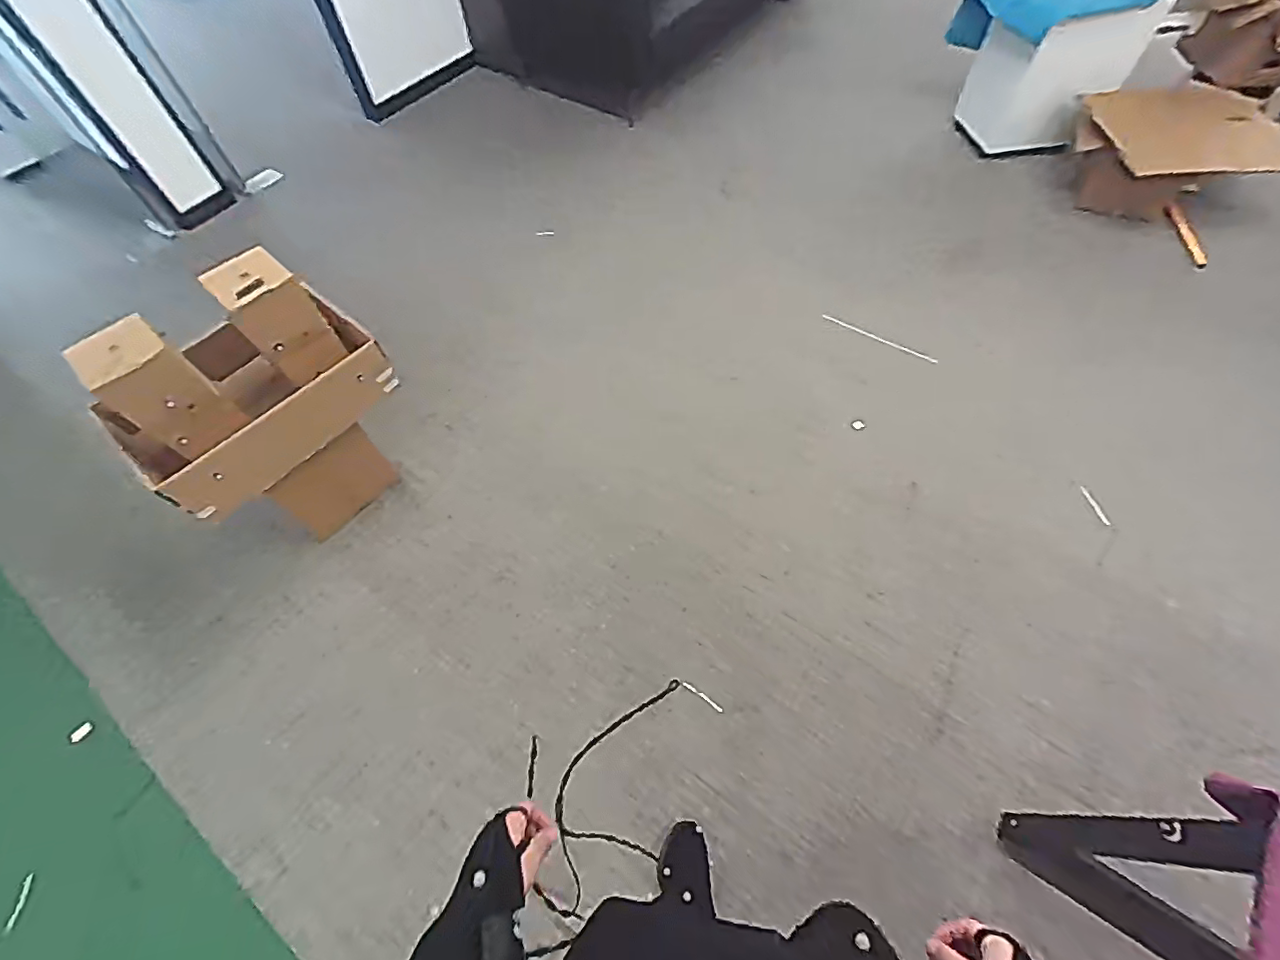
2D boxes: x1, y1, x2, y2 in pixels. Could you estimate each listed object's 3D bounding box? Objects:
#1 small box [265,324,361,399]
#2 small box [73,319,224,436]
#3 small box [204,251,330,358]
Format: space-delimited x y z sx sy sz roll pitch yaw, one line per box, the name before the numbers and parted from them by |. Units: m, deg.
small box | -0.933 -0.358 1.517 0.179 0.176 0.168 36 67 20
small box | -1.135 -0.233 1.261 0.179 0.176 0.168 38 69 22
small box | -0.935 -0.436 1.372 0.179 0.176 0.168 37 67 21
